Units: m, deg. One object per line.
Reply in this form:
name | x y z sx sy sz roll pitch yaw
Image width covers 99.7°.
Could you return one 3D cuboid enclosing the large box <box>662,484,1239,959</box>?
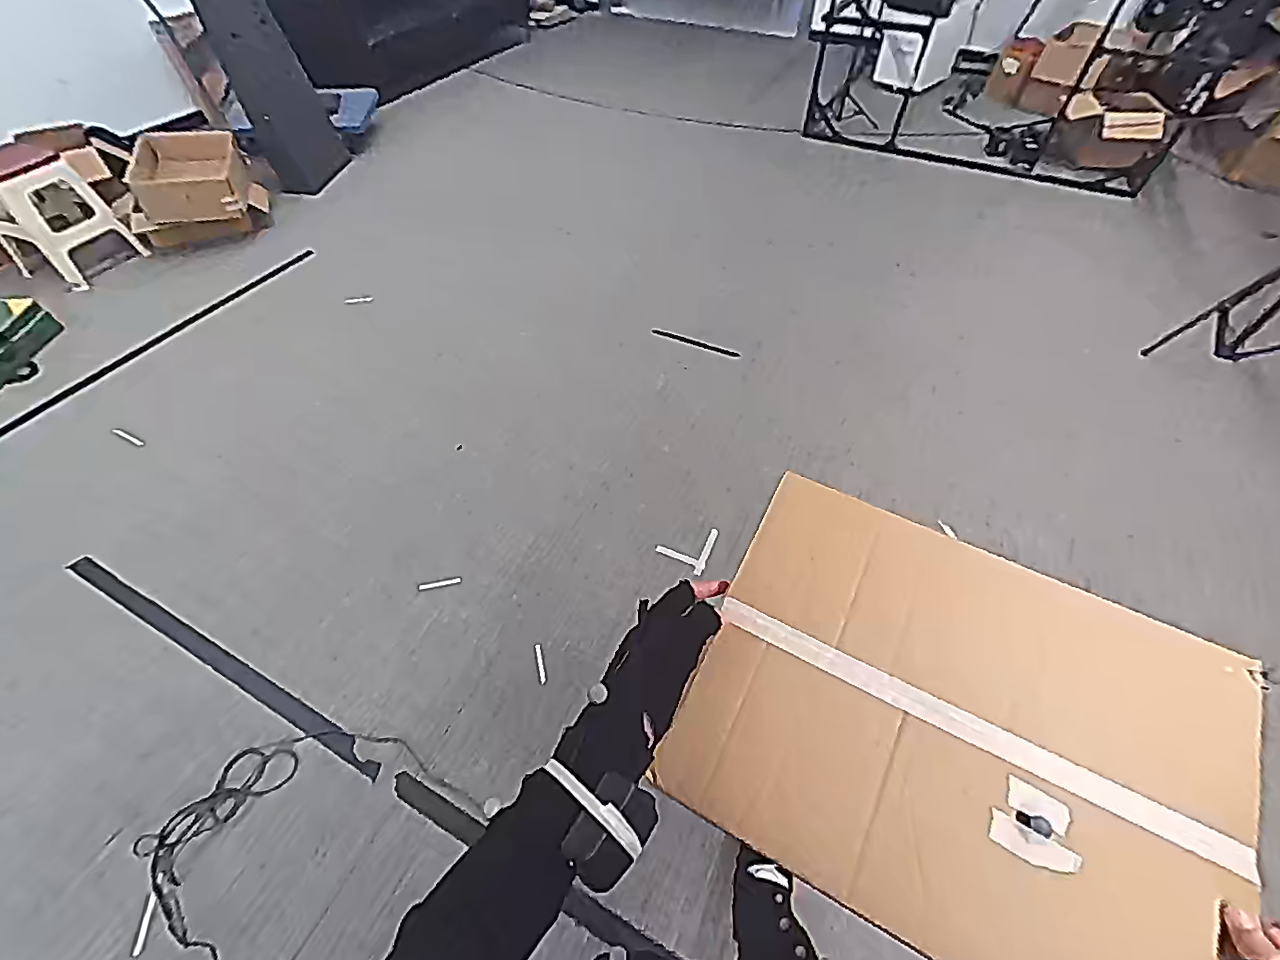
large box | 0.268 0.266 0.583 0.408 0.320 0.320 25 68 16
